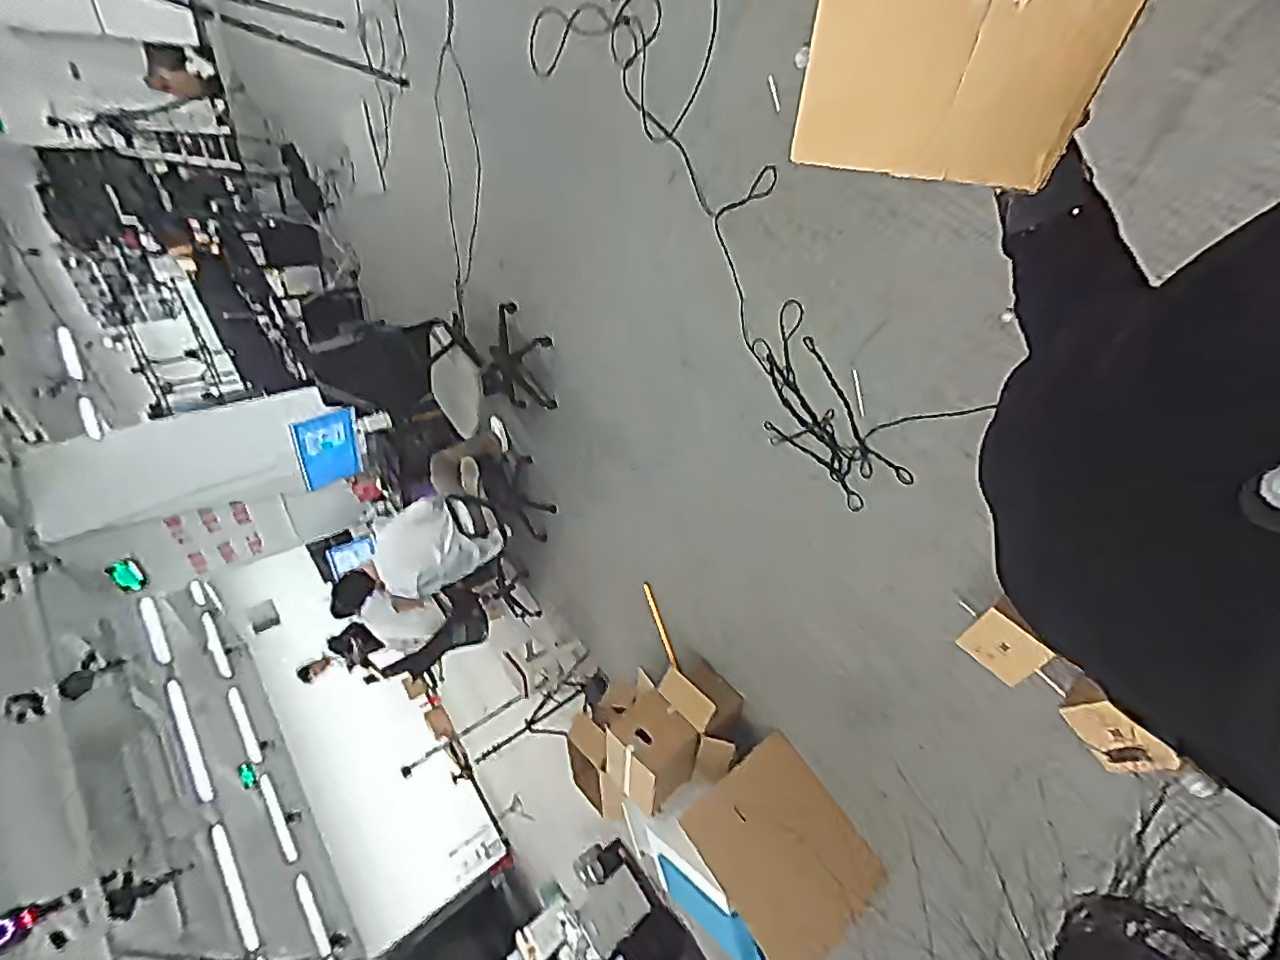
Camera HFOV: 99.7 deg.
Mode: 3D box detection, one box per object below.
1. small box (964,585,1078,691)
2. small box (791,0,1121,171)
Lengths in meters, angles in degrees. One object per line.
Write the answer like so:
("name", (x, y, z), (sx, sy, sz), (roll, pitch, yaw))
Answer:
("small box", (1.012, 0.412, 1.431), (0.168, 0.176, 0.179), (43, 140, 29))
("small box", (0.208, -0.335, 0.347), (0.168, 0.179, 0.176), (15, 147, 13))
